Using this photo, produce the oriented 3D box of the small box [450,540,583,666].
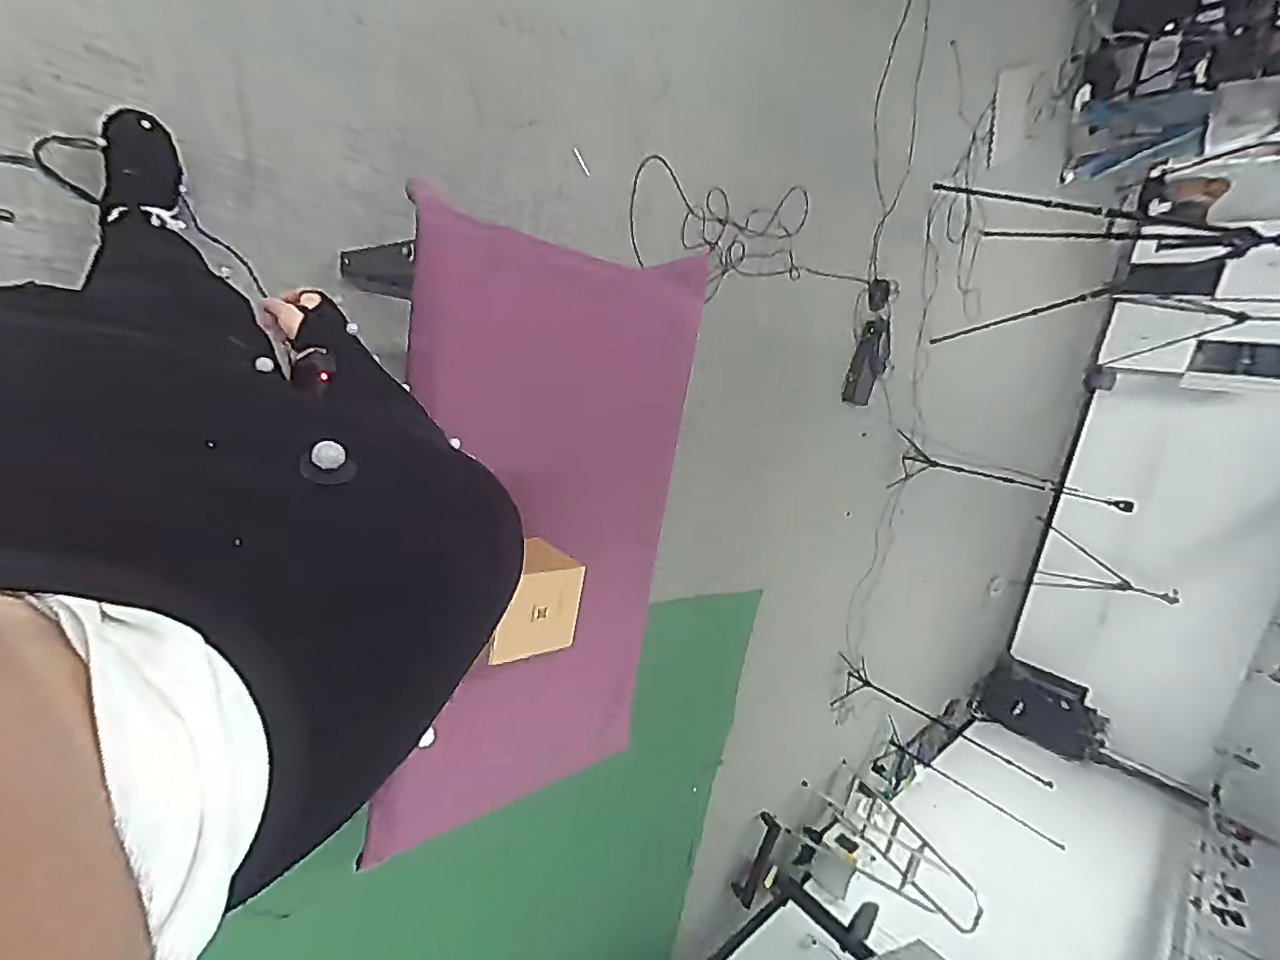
[{"bbox_3d":[-0.236,0.220,1.017,0.179,0.176,0.168,2,105,-44],"label":"small box"}]
